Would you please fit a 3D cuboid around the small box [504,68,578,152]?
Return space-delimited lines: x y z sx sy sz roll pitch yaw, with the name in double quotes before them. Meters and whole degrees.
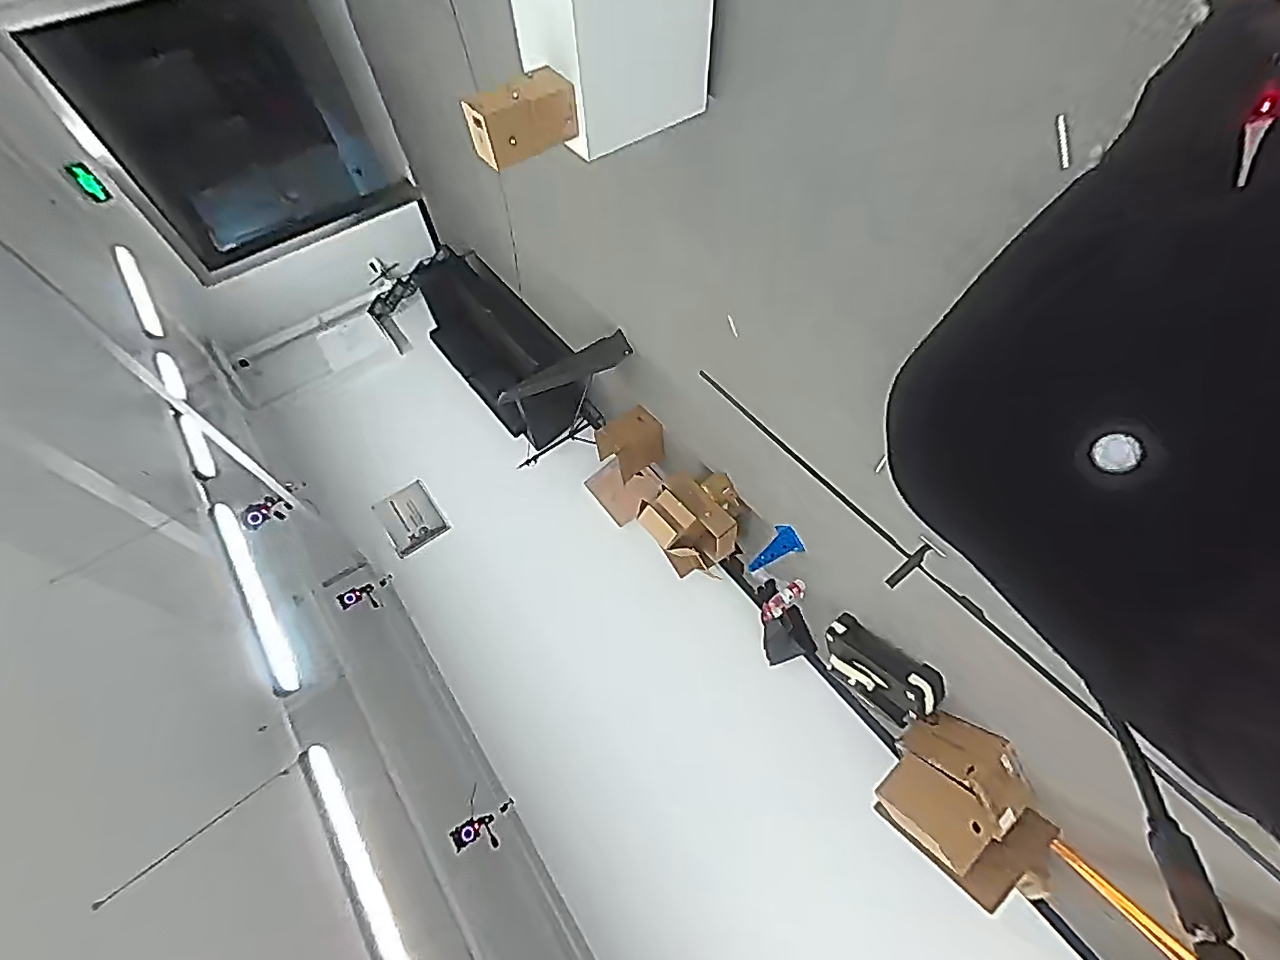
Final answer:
"small box" -0.331 -1.261 1.836 0.179 0.176 0.168 49 162 23

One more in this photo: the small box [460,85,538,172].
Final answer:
"small box" -0.462 -1.171 1.795 0.168 0.176 0.179 49 163 28
